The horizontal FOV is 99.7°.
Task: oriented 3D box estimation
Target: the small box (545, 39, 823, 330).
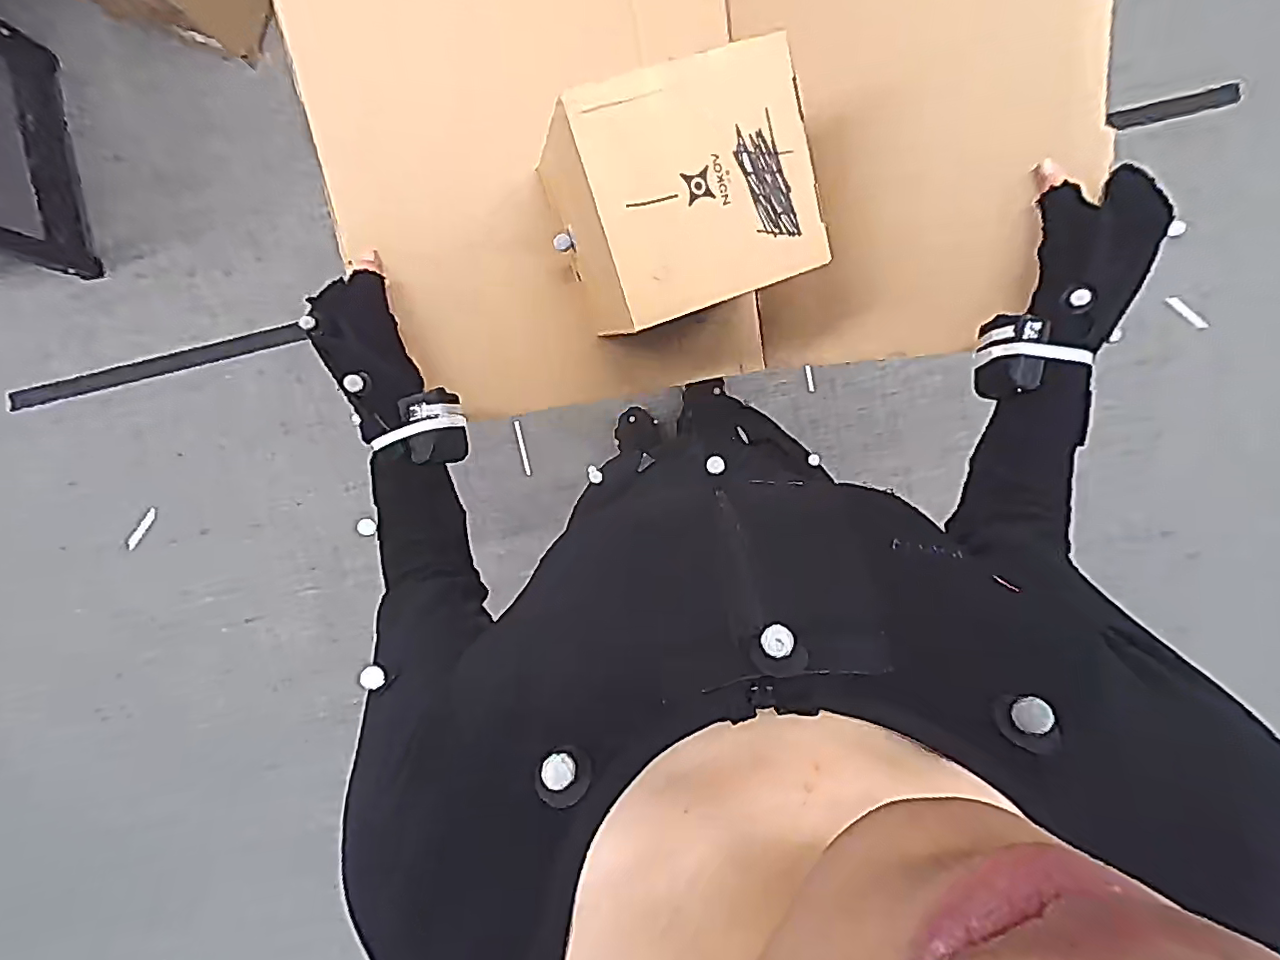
[{"bbox_3d":[0.029,-0.241,0.483,0.179,0.176,0.168,-22,108,-9],"label":"small box"}]
